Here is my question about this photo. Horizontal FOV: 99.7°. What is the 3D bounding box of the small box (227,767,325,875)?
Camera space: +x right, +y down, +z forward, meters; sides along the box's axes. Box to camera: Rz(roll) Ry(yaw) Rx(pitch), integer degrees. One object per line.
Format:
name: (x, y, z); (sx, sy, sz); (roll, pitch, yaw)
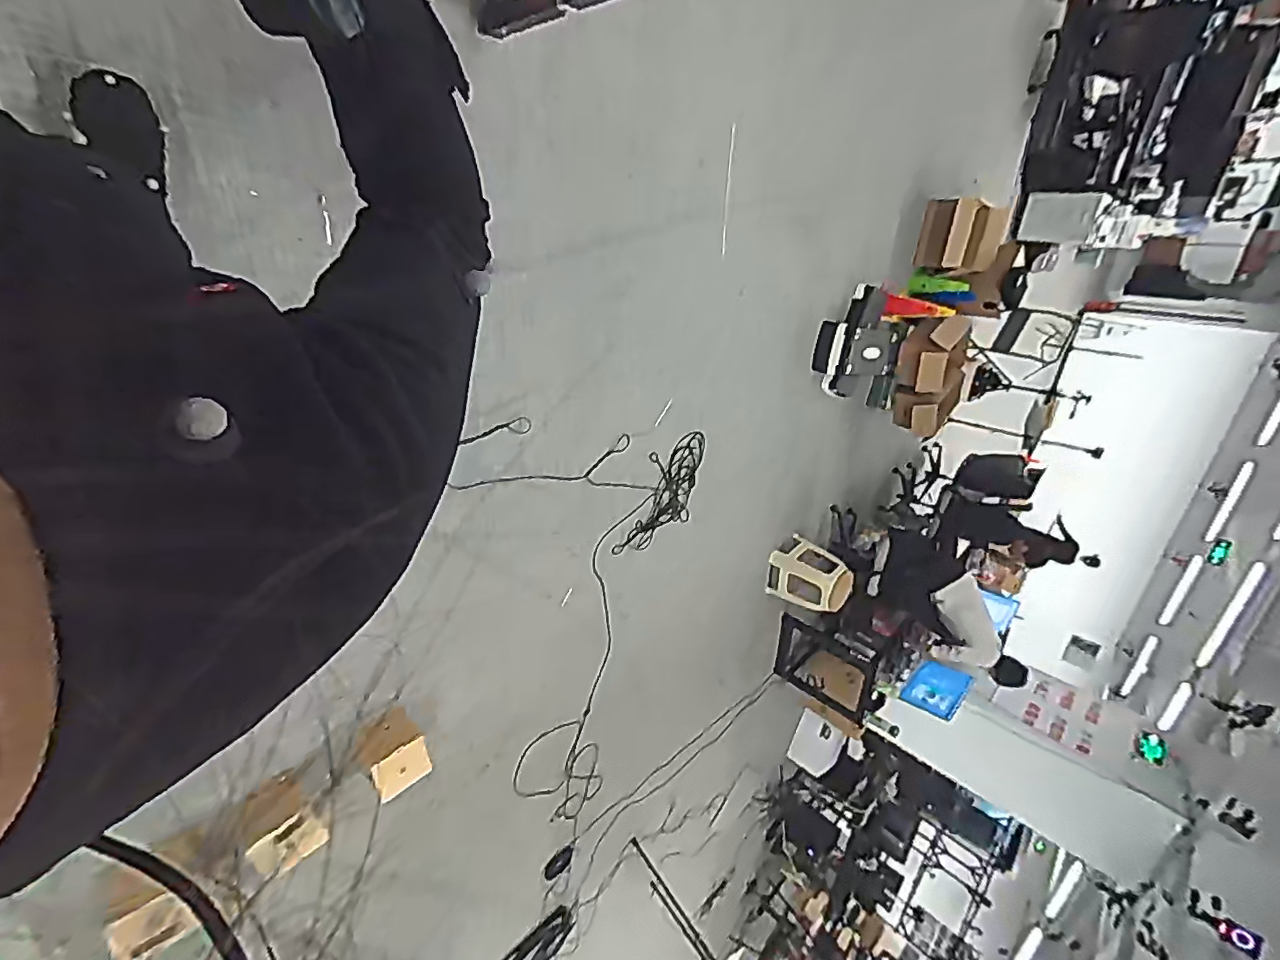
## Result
small box: (-1.048, 0.967, 1.554); (0.168, 0.176, 0.179); (-29, 129, -36)

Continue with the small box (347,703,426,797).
small box: (-0.824, 0.871, 1.758); (0.168, 0.176, 0.179); (-25, 125, -39)
